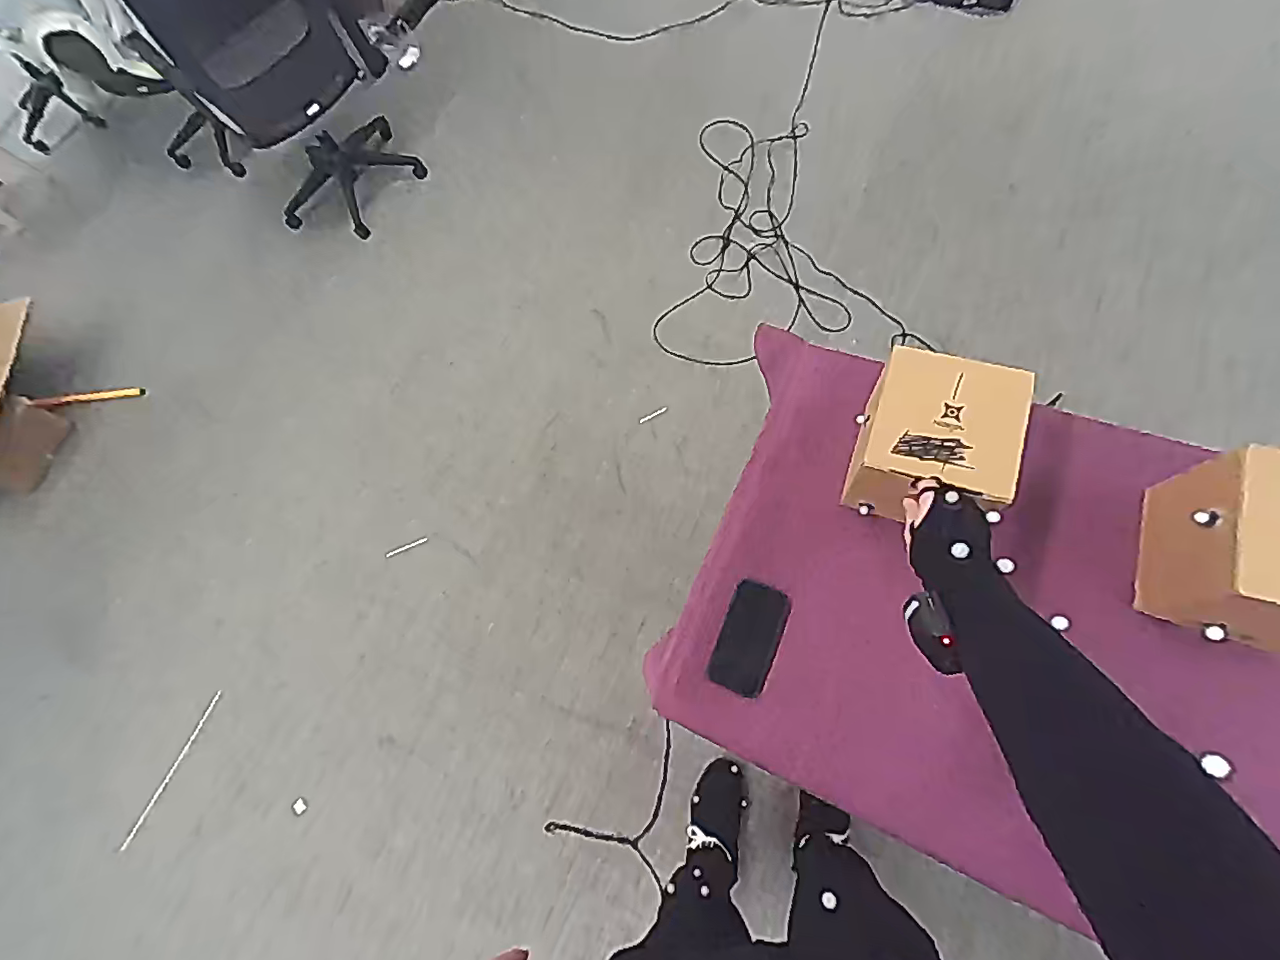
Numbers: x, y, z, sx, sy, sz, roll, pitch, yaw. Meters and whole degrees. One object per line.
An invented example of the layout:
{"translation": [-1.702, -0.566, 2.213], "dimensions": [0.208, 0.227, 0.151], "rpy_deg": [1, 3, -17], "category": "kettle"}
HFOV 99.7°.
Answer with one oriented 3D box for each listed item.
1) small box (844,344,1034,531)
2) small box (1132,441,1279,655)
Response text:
{"translation": [0.385, -0.048, 0.725], "dimensions": [0.168, 0.176, 0.179], "rpy_deg": [17, 73, 16], "category": "small box"}
{"translation": [0.713, 0.084, 0.615], "dimensions": [0.168, 0.176, 0.179], "rpy_deg": [17, 74, 17], "category": "small box"}
